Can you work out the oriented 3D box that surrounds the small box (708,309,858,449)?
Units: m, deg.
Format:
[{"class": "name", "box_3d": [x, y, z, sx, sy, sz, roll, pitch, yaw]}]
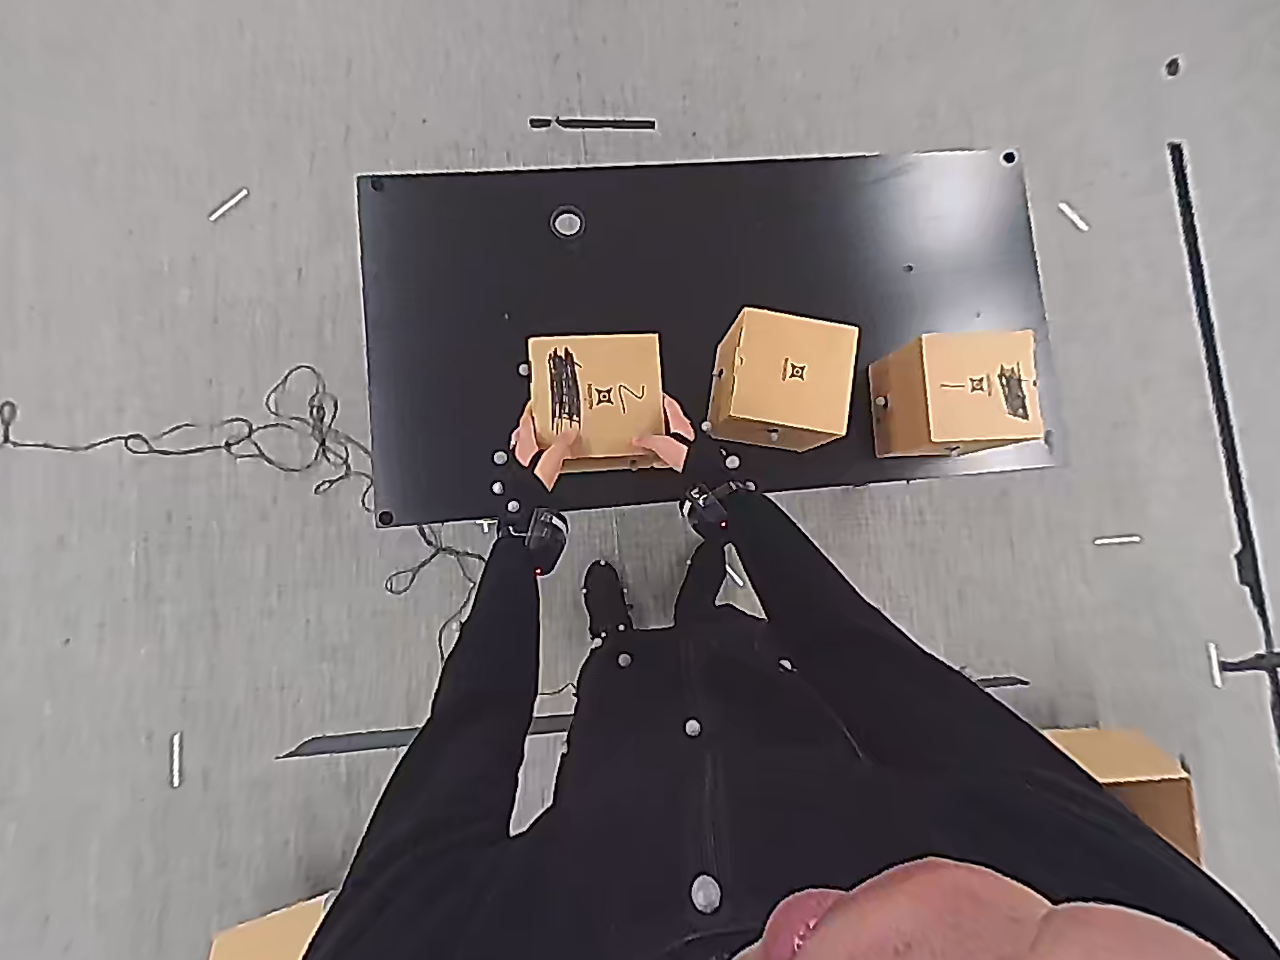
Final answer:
[{"class": "small box", "box_3d": [0.217, -0.148, 0.854, 0.179, 0.176, 0.168, 8, 84, -2]}]

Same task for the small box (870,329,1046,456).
[{"class": "small box", "box_3d": [0.497, -0.132, 0.867, 0.179, 0.176, 0.168, -3, 84, -3]}]
